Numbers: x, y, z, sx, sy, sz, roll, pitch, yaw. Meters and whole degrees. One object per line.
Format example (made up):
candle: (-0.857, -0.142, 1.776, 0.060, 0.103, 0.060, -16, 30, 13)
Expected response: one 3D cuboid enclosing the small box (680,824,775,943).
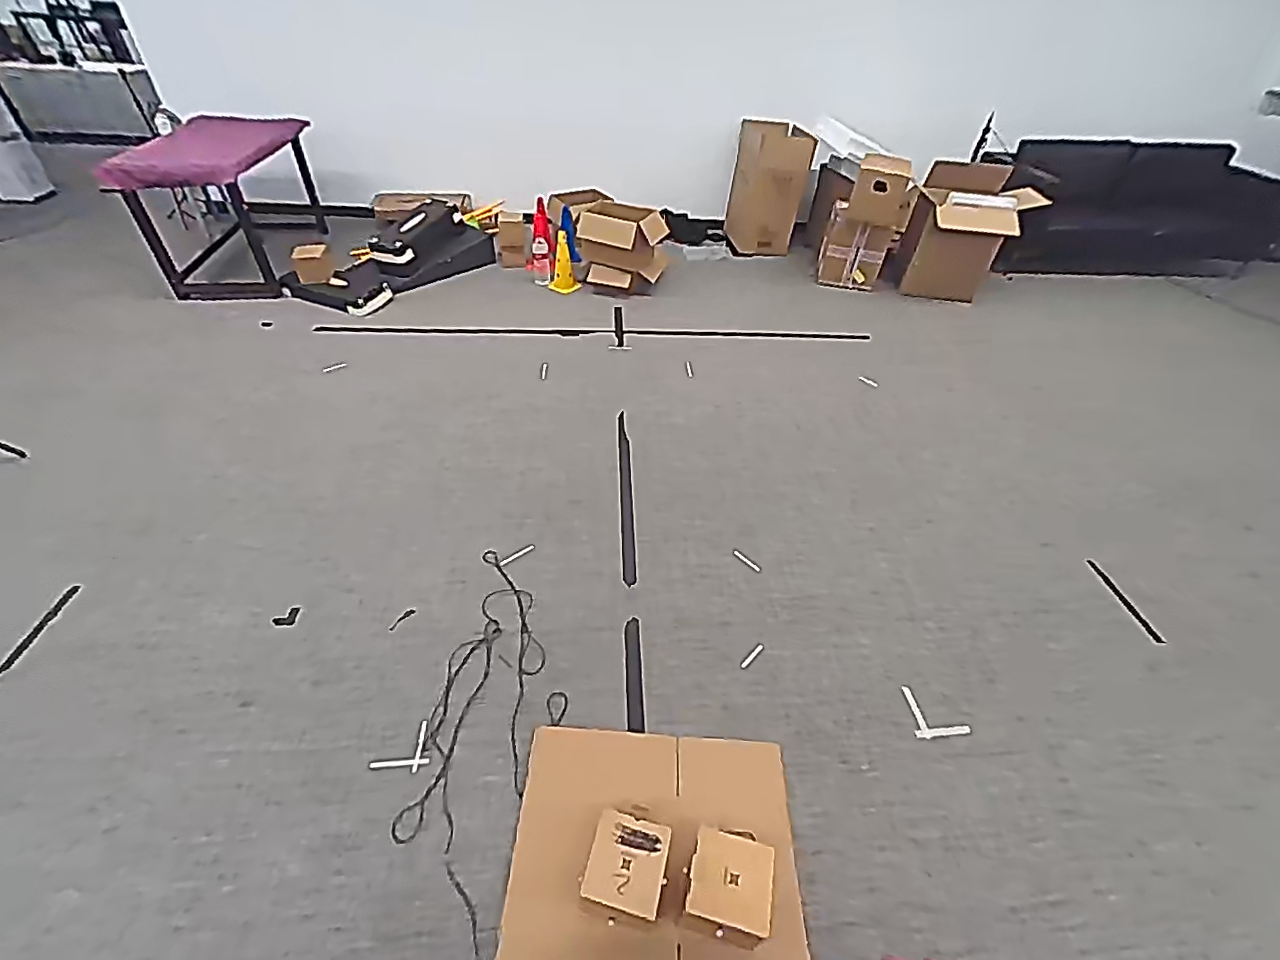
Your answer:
small box: (0.198, 0.927, 1.238, 0.179, 0.176, 0.168, 12, 43, 9)
